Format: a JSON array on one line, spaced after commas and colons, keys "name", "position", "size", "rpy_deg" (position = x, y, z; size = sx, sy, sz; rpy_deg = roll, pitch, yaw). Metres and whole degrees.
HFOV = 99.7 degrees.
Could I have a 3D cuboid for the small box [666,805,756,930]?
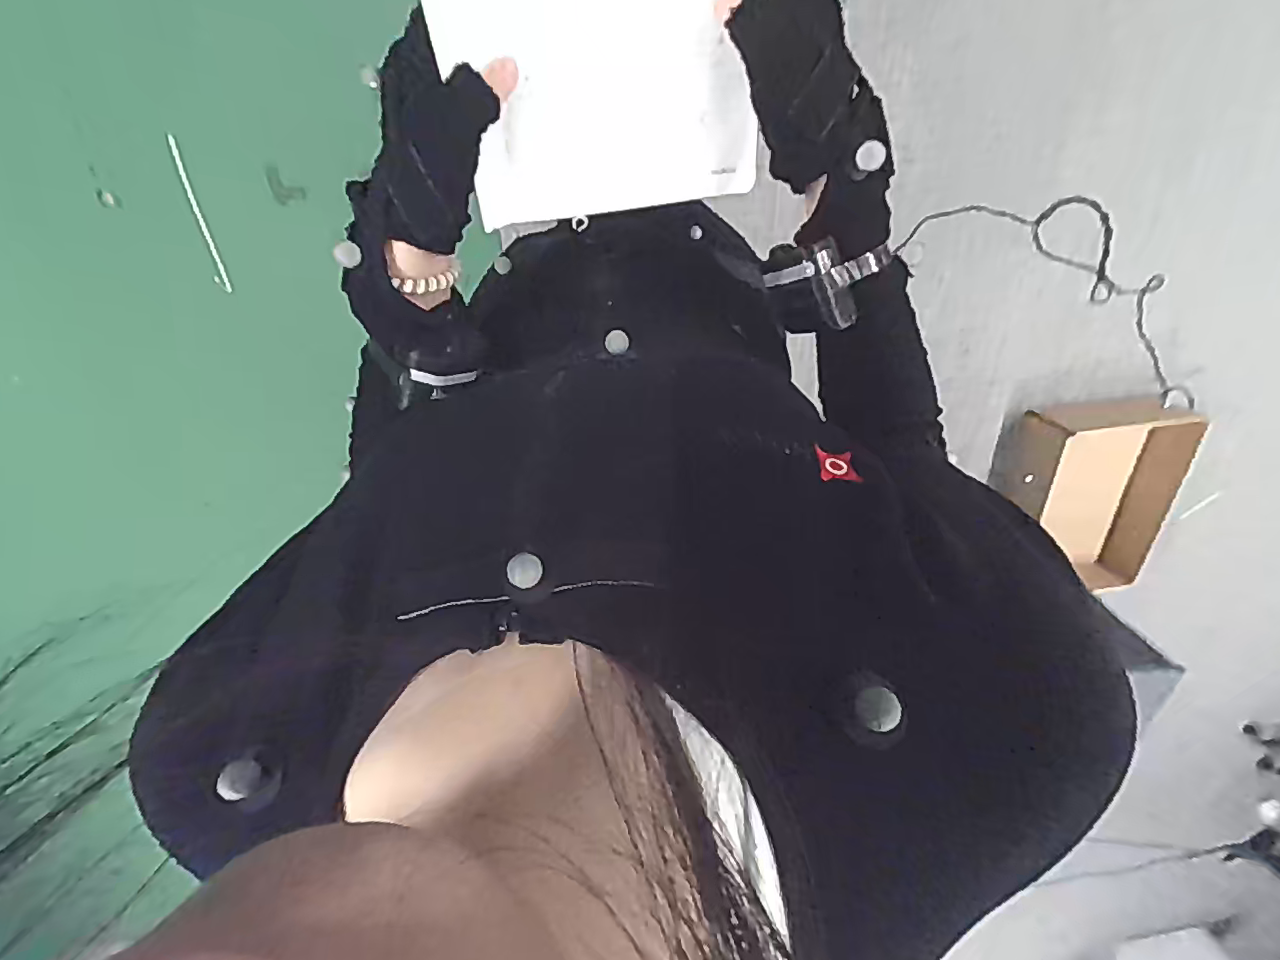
[{"name": "small box", "position": [0.149, 0.858, 1.203], "size": [0.168, 0.176, 0.179], "rpy_deg": [-2, 119, -4]}]
